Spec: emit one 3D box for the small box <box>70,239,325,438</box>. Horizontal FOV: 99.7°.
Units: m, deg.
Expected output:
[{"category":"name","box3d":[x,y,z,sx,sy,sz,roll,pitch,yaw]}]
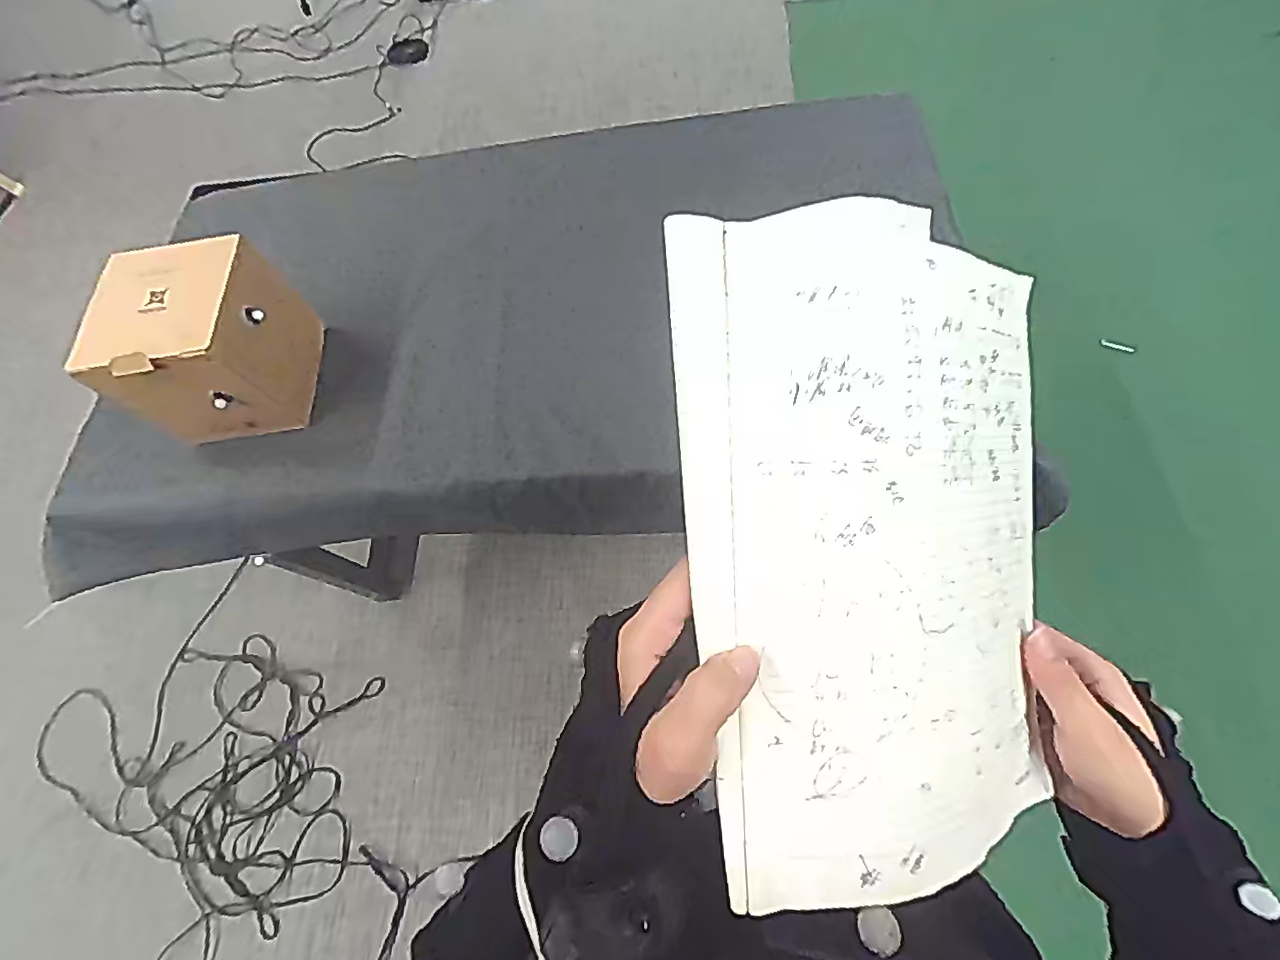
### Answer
[{"category":"small box","box3d":[-0.533,-0.166,0.684,0.168,0.176,0.179,-7,64,3]}]
